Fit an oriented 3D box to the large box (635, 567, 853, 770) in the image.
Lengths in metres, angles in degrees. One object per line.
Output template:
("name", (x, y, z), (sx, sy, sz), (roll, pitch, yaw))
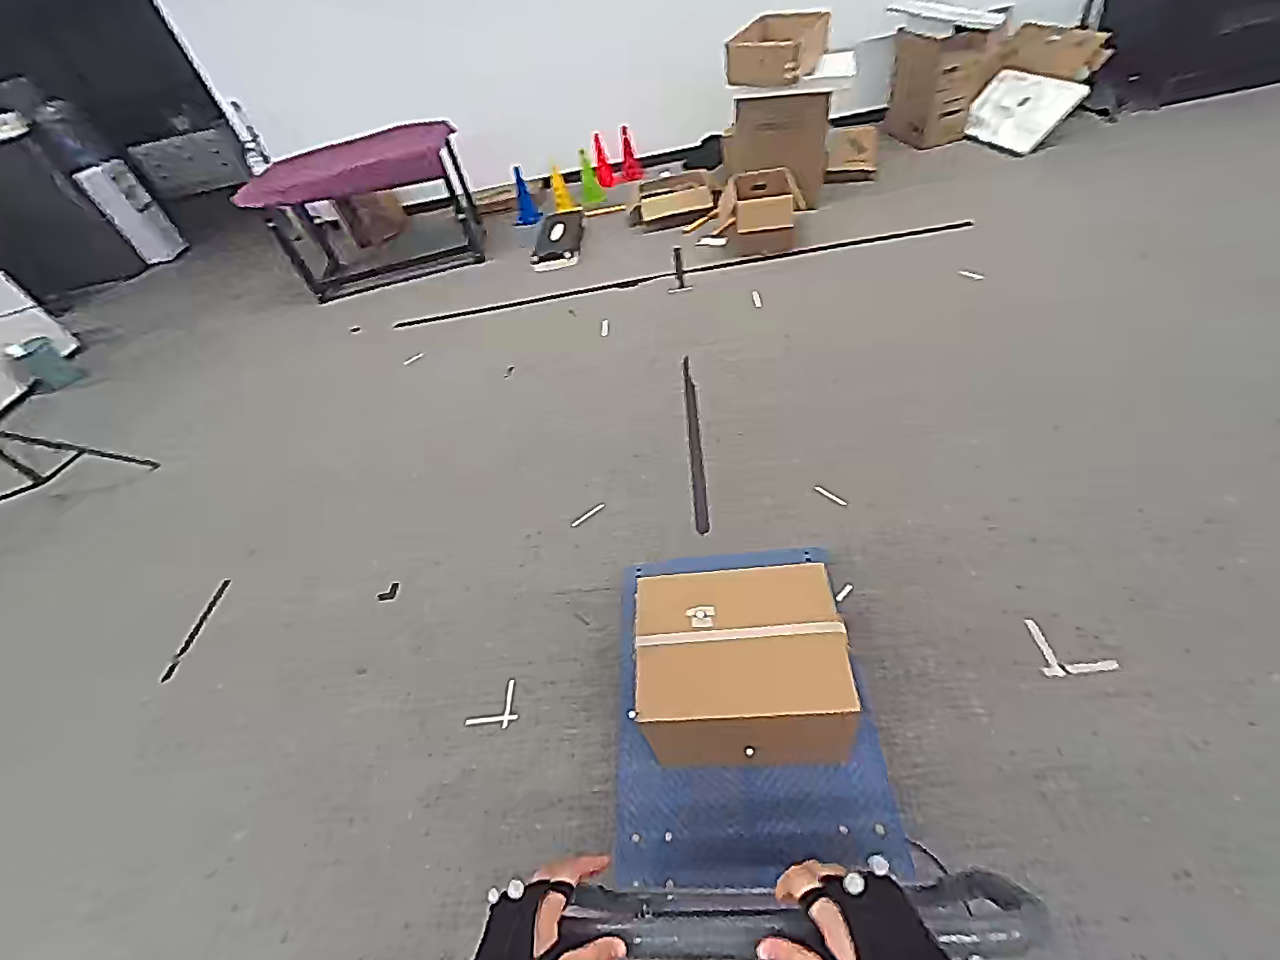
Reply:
("large box", (0.215, 0.425, 1.195), (0.408, 0.320, 0.320), (-8, 45, 8))
